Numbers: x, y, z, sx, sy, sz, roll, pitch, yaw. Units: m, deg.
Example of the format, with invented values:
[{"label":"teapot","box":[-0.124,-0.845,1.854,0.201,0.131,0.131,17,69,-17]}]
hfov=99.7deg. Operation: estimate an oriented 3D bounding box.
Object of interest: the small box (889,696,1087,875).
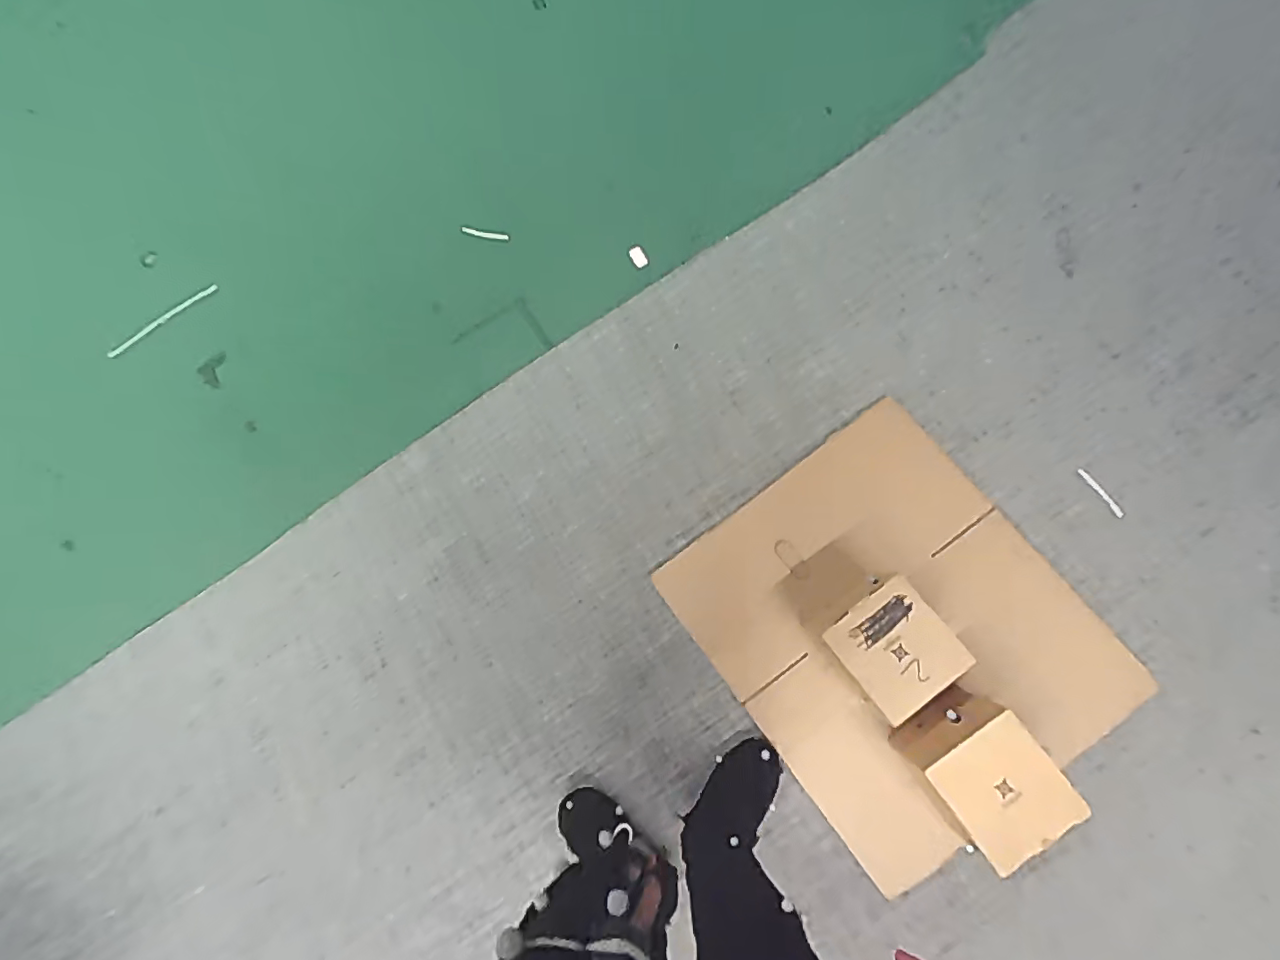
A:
[{"label":"small box","box":[0.544,0.474,0.878,0.168,0.176,0.179,-35,78,-1]}]
